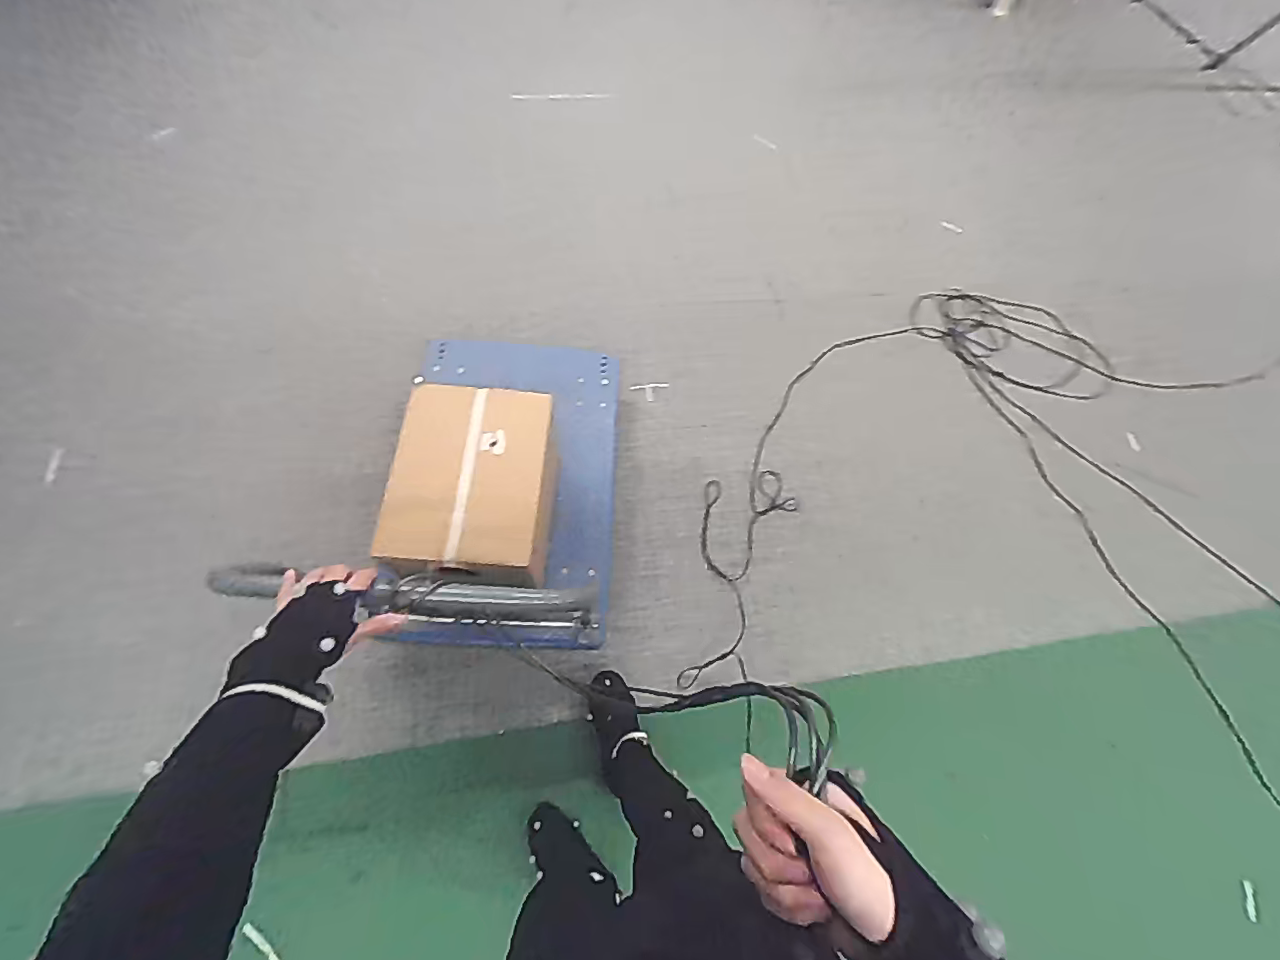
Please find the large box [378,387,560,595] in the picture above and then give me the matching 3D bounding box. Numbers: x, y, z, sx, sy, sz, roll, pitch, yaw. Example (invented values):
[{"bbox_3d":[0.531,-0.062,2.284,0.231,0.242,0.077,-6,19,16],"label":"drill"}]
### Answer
[{"bbox_3d":[-0.370,0.040,1.284,0.320,0.320,0.408,5,65,-4],"label":"large box"}]
